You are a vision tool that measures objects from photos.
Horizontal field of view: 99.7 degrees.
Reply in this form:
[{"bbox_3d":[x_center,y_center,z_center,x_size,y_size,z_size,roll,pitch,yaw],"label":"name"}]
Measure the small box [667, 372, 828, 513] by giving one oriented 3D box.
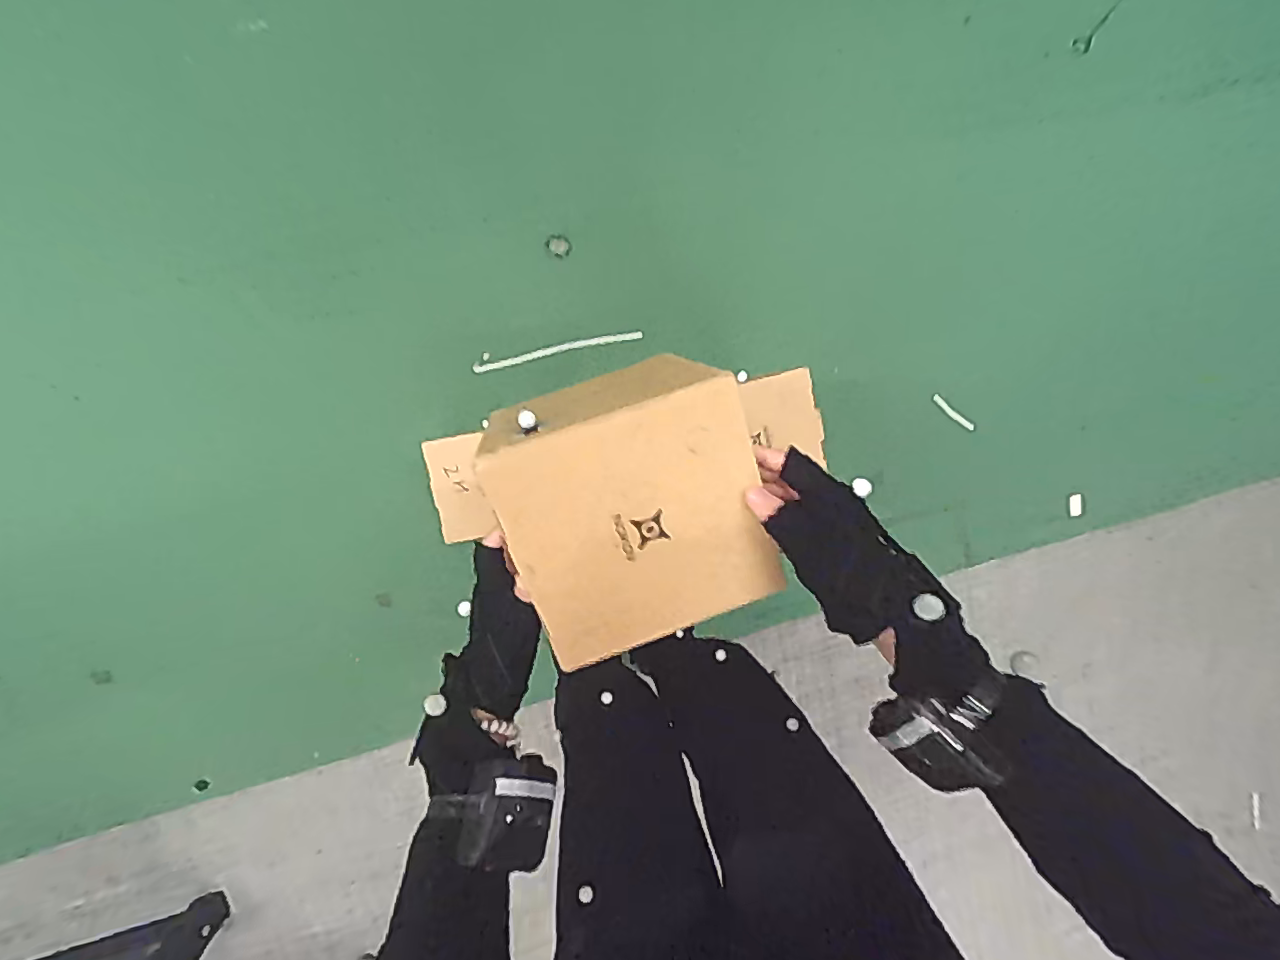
[{"bbox_3d":[0.154,-0.063,0.821,0.179,0.176,0.168,-14,99,-7],"label":"small box"}]
